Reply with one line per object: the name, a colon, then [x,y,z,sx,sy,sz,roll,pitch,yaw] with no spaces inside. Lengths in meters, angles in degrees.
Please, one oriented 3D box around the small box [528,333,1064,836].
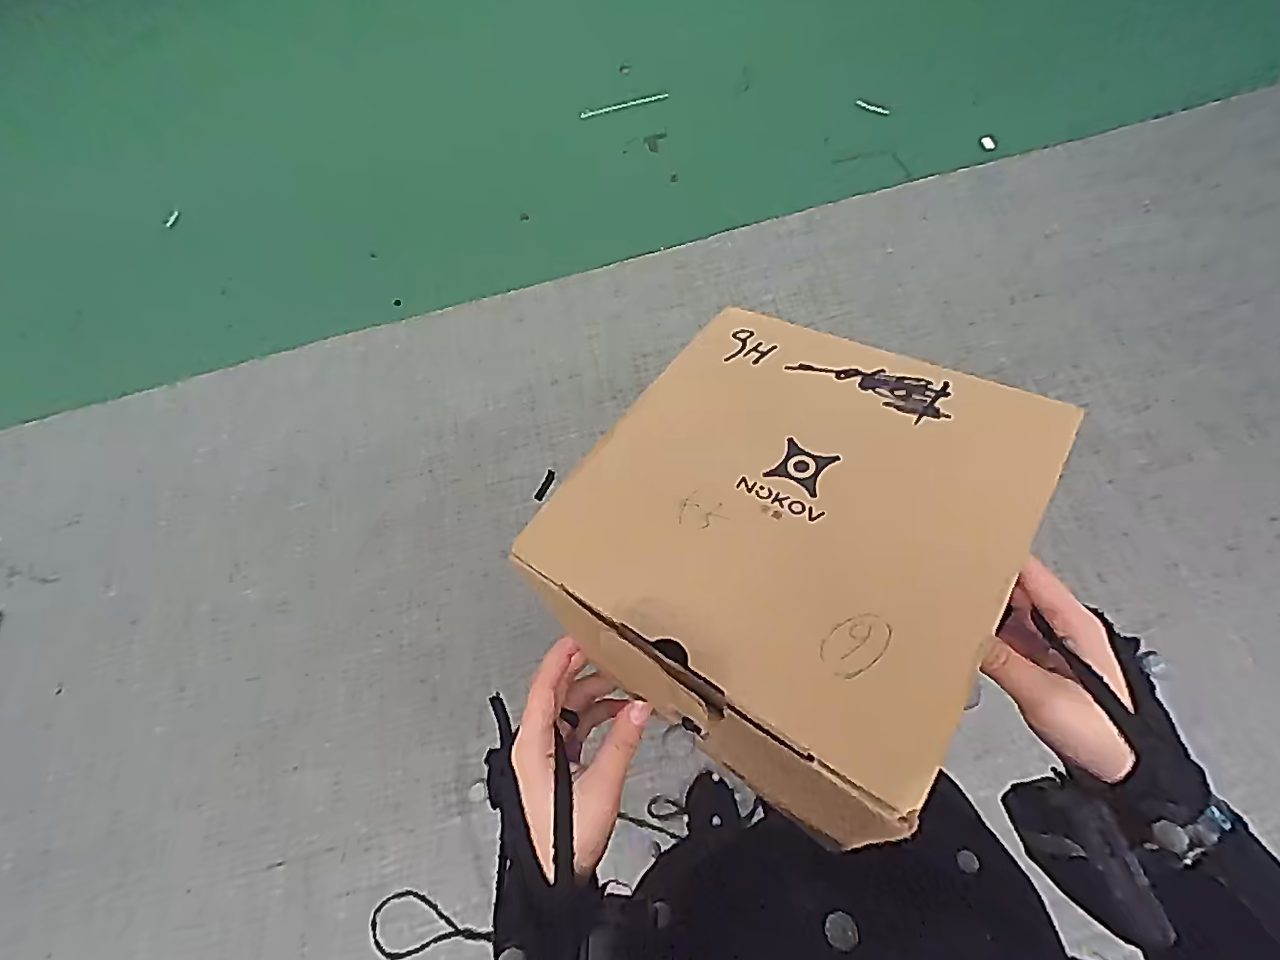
small box: [0.078,0.057,0.292,0.168,0.176,0.179,27,64,28]
